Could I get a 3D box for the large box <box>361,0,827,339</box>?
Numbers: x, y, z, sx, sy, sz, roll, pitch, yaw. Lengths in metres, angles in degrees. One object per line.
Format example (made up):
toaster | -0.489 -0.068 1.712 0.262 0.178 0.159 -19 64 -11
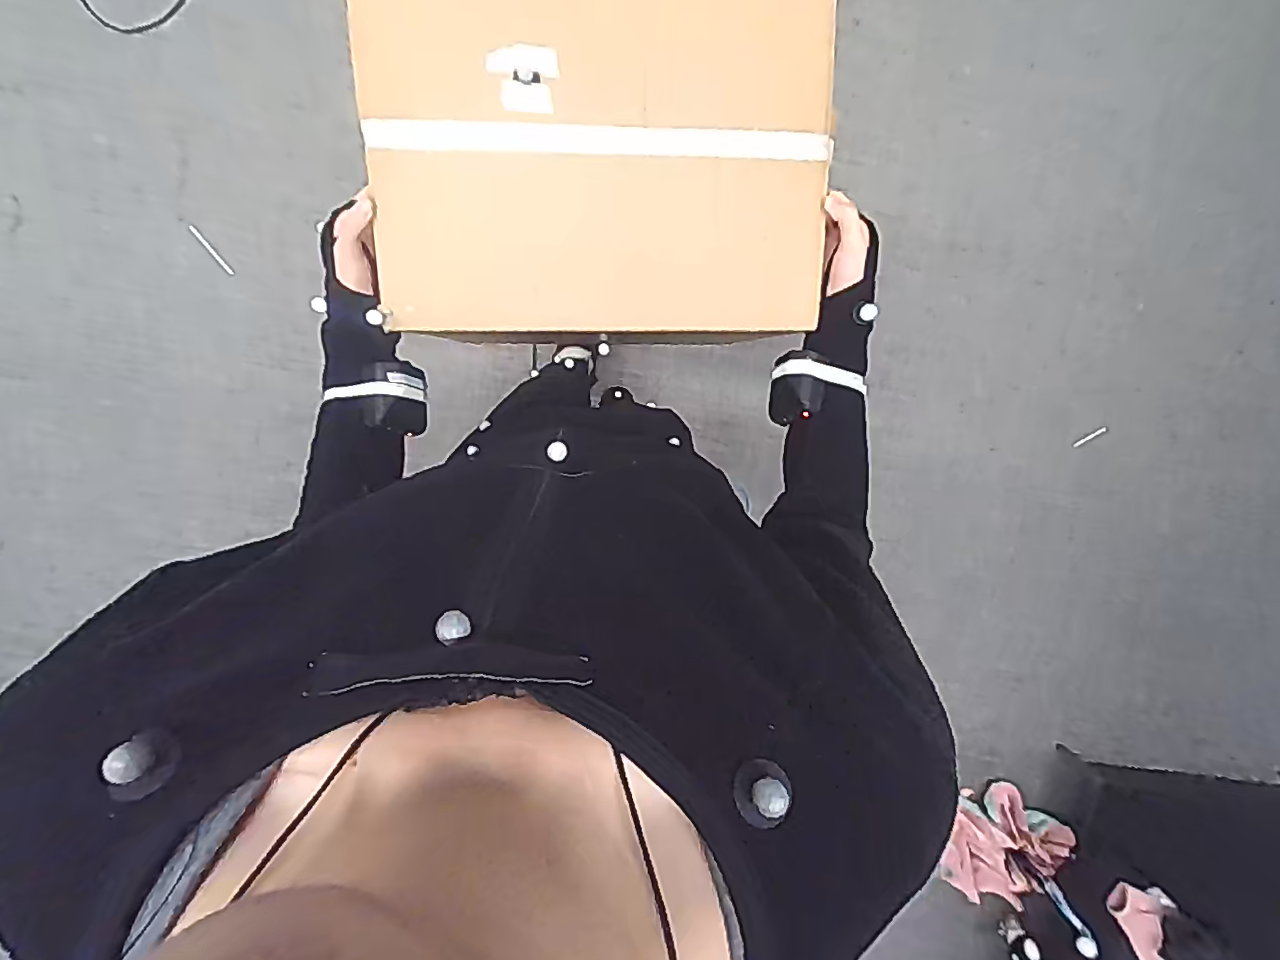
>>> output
large box | -0.043 -0.328 0.629 0.408 0.320 0.320 -1 102 -5
